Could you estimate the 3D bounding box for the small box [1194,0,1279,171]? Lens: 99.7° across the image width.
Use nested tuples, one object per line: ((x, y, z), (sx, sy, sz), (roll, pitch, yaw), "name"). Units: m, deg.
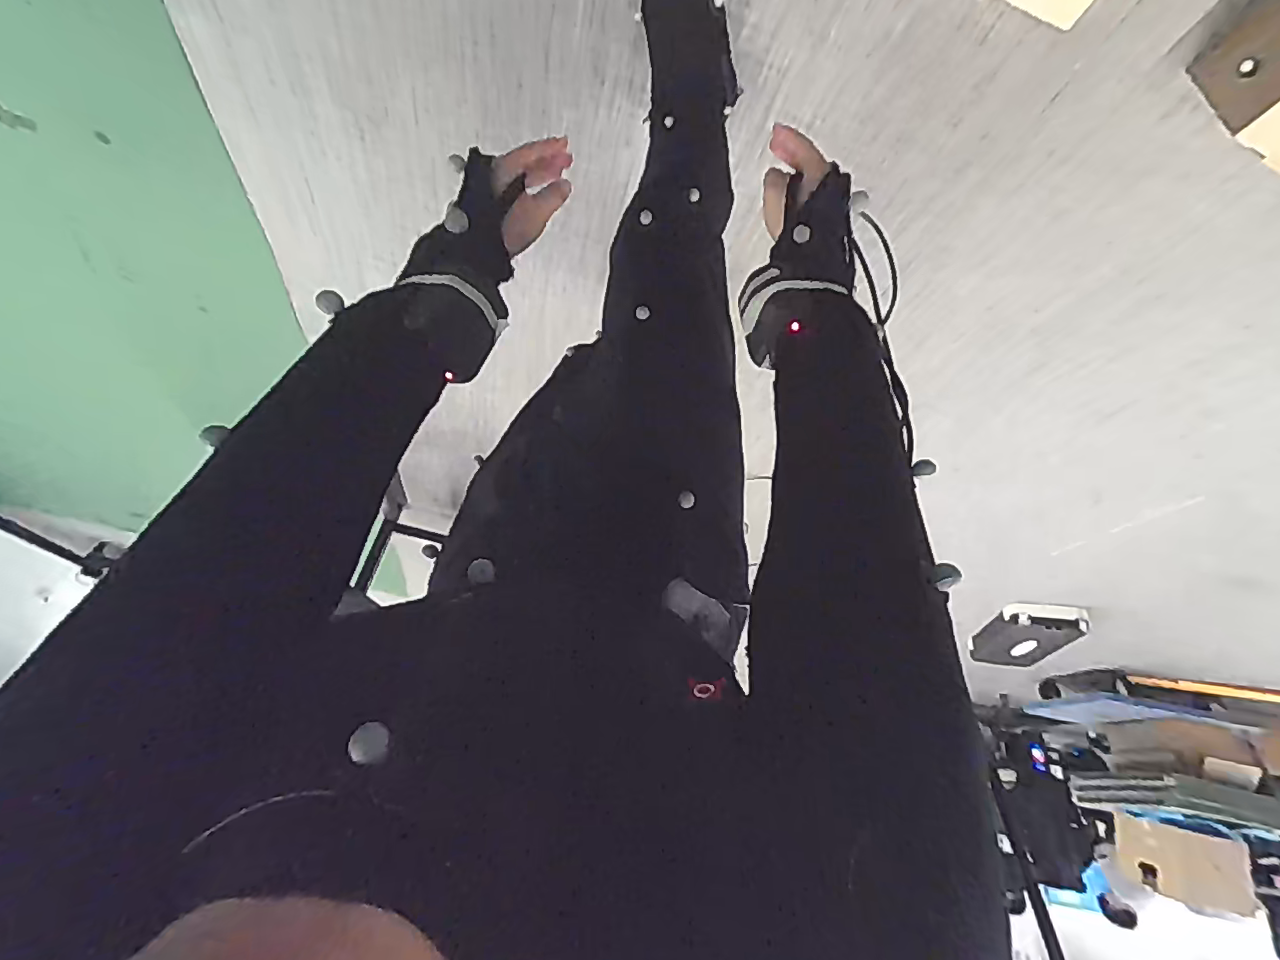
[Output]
((0.820, -0.500, 0.638), (0.168, 0.176, 0.179), (16, 149, -13), "small box")
